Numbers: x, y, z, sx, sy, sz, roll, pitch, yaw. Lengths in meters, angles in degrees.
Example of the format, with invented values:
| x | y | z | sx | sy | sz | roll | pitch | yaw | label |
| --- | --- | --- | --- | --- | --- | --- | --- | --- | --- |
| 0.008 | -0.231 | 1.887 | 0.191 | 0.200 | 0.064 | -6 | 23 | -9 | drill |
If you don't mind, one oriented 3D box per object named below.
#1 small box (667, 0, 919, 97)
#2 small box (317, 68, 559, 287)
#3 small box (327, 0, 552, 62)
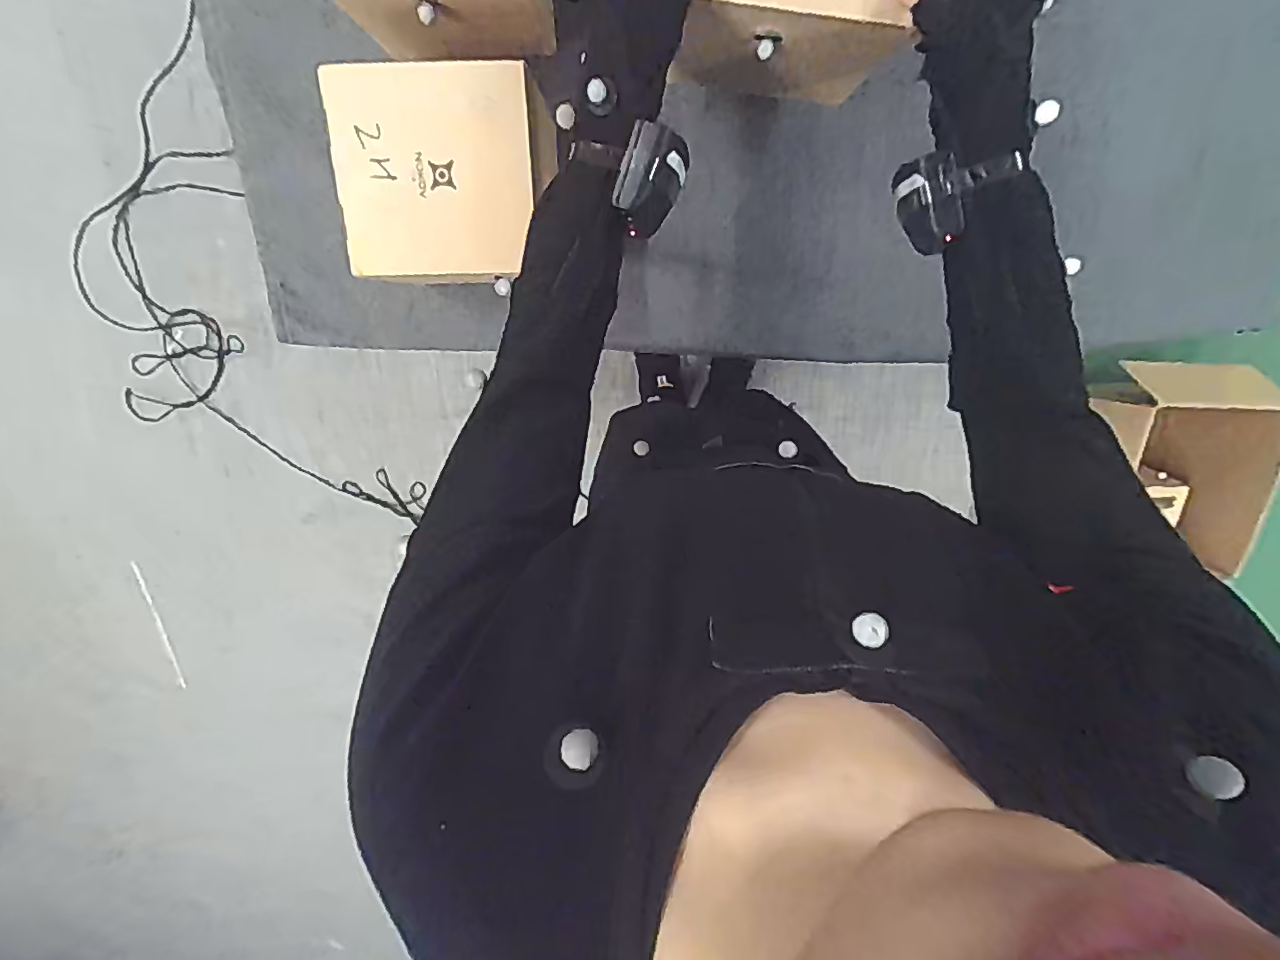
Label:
| x | y | z | sx | sy | sz | roll | pitch | yaw | label |
| --- | --- | --- | --- | --- | --- | --- | --- | --- | --- |
| 0.116 | -0.431 | 0.427 | 0.179 | 0.176 | 0.168 | 5 | 109 | -1 | small box |
| -0.179 | -0.286 | 0.545 | 0.179 | 0.176 | 0.168 | -1 | 108 | 1 | small box |
| -0.178 | -0.500 | 0.477 | 0.179 | 0.176 | 0.168 | -1 | 110 | 3 | small box |
